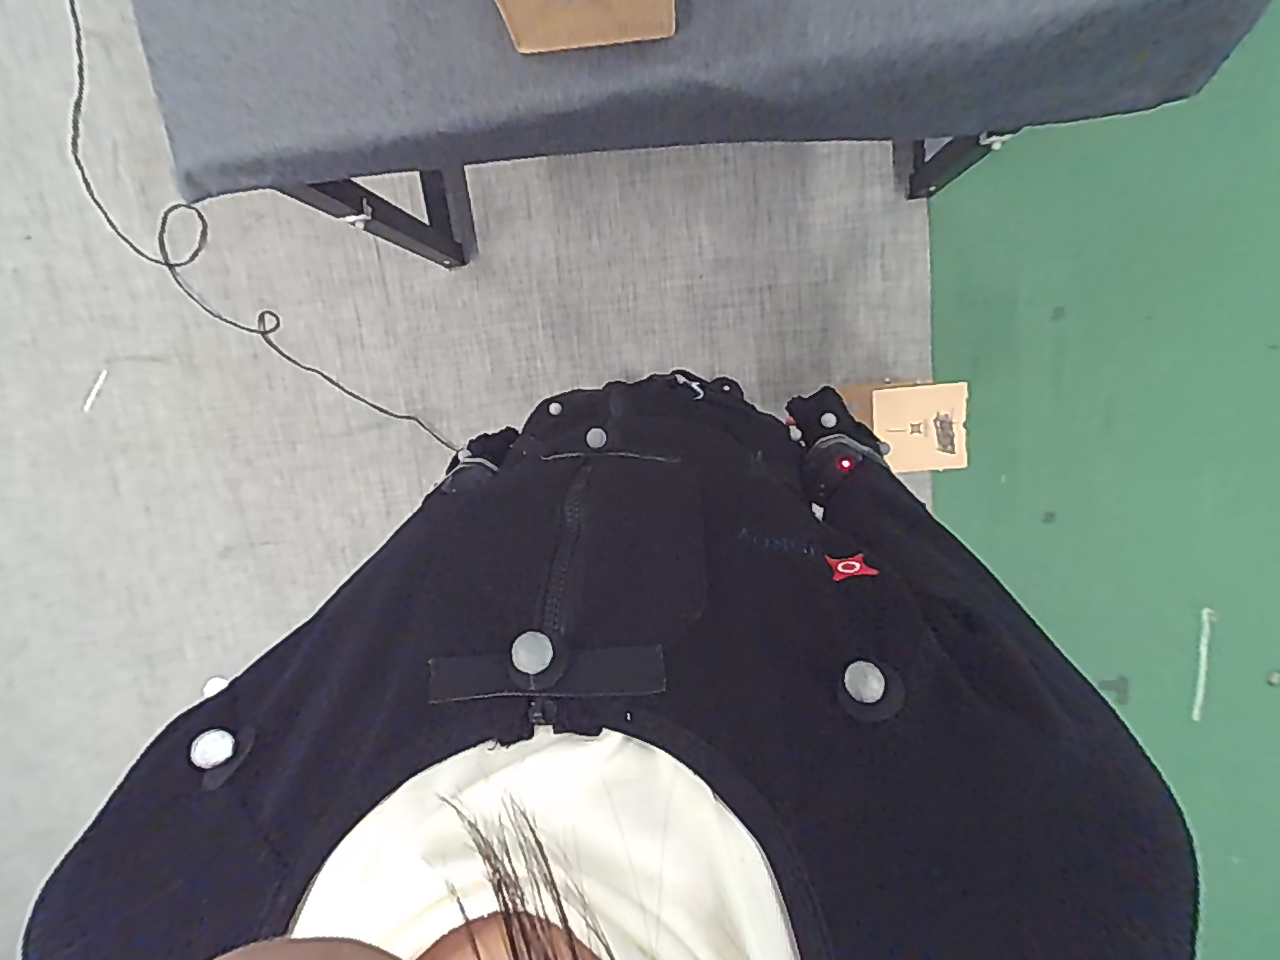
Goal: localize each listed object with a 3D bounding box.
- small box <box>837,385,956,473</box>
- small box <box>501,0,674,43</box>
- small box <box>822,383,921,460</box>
[{"bbox_3d":[0.524,-0.110,1.126,0.179,0.176,0.168,-3,99,5],"label":"small box"},{"bbox_3d":[-0.060,-0.550,0.504,0.179,0.176,0.168,-2,100,4],"label":"small box"},{"bbox_3d":[0.547,-0.142,1.286,0.179,0.176,0.168,-6,99,6],"label":"small box"}]
